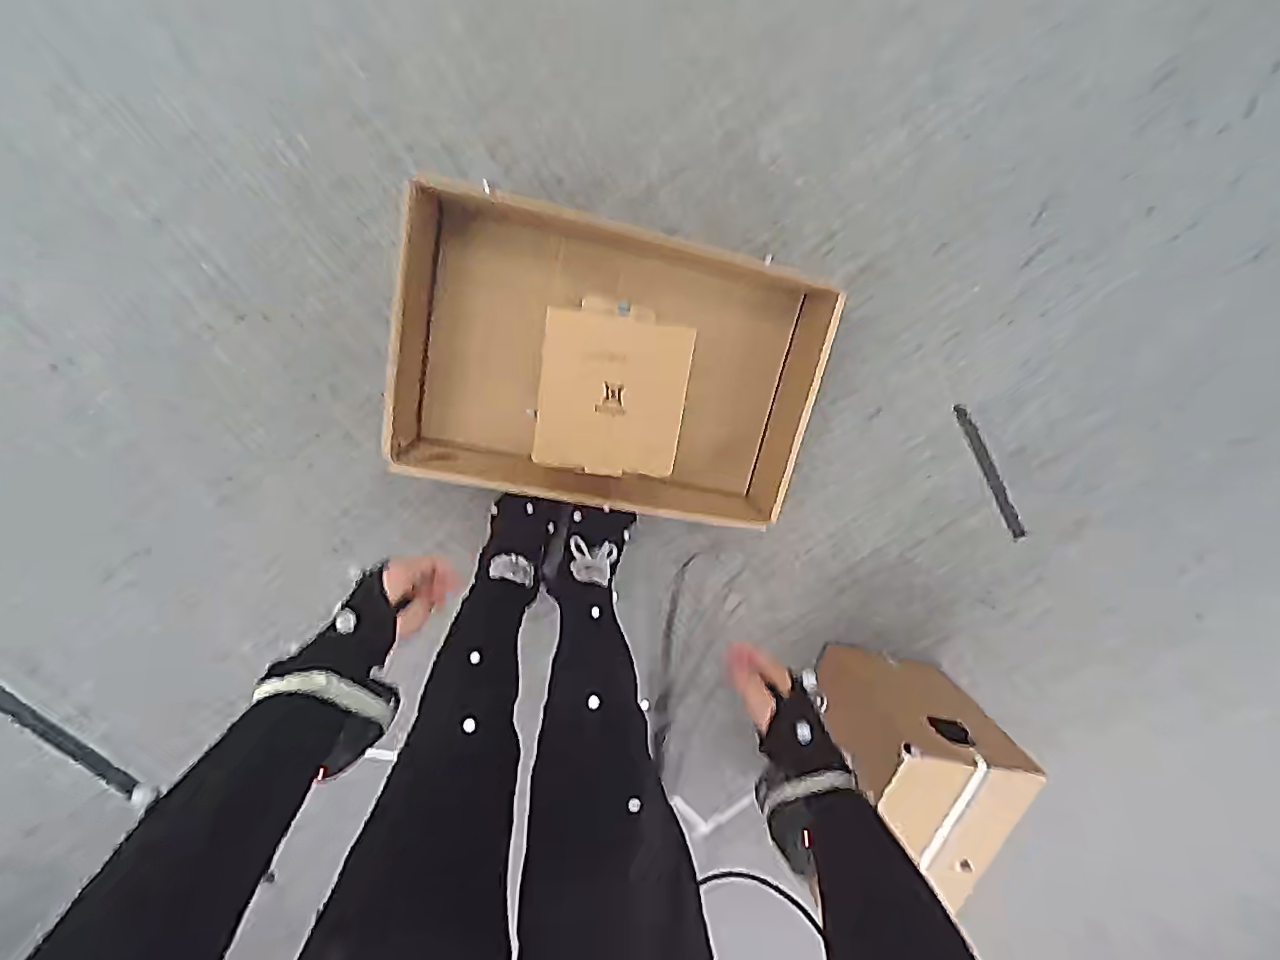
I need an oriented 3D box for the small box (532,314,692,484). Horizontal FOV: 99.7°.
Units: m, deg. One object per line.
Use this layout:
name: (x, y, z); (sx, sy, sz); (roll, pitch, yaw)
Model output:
small box: (-0.044, -0.109, 0.687); (0.168, 0.176, 0.179); (5, 107, -10)
